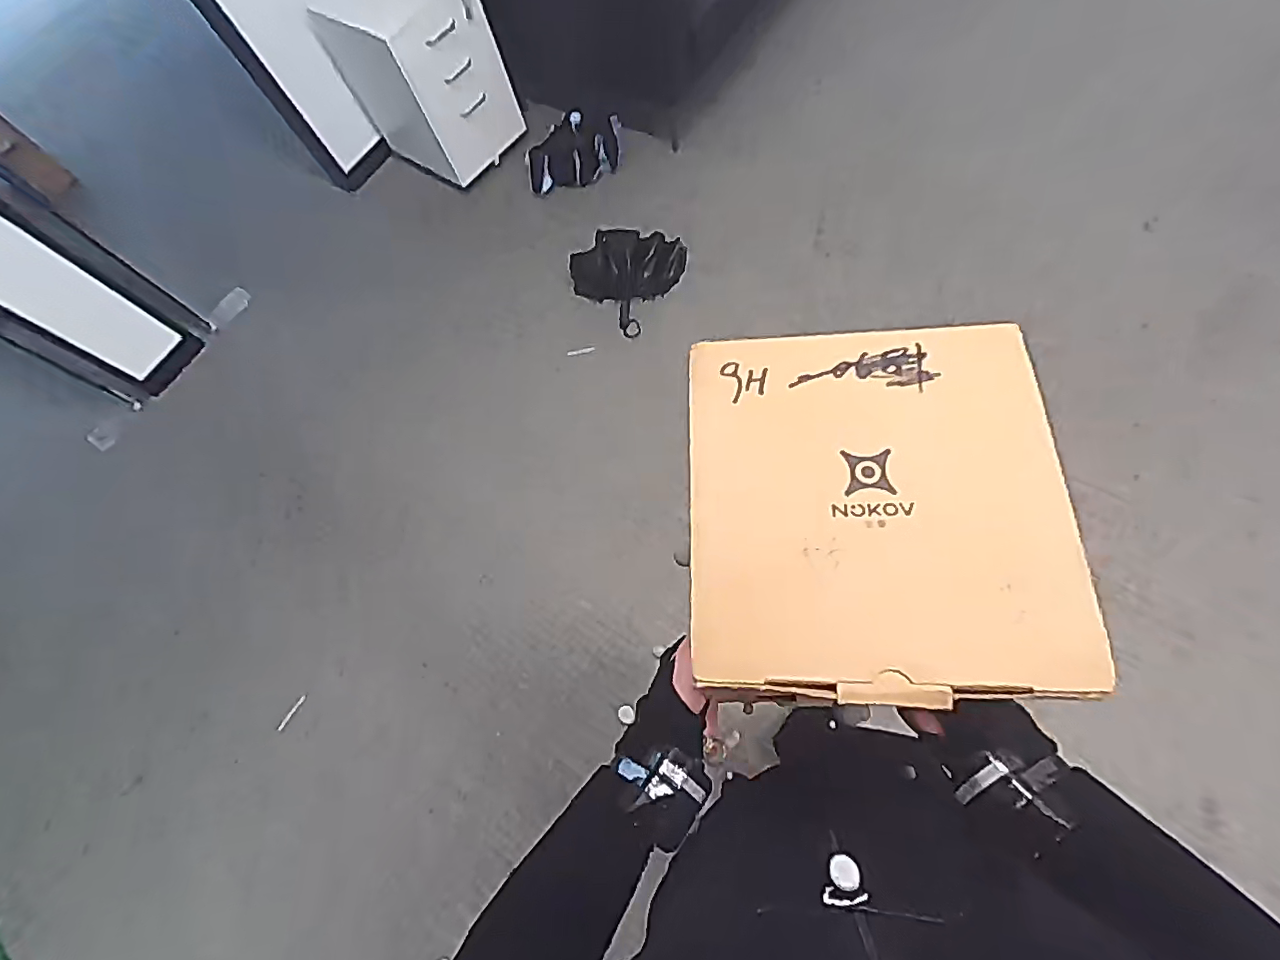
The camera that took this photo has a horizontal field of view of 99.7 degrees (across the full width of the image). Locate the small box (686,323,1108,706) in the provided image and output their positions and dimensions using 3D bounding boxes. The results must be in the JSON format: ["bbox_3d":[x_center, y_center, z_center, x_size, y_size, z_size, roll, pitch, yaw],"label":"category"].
[{"bbox_3d":[0.117,0.032,0.323,0.168,0.176,0.179,-1,70,9],"label":"small box"}]
